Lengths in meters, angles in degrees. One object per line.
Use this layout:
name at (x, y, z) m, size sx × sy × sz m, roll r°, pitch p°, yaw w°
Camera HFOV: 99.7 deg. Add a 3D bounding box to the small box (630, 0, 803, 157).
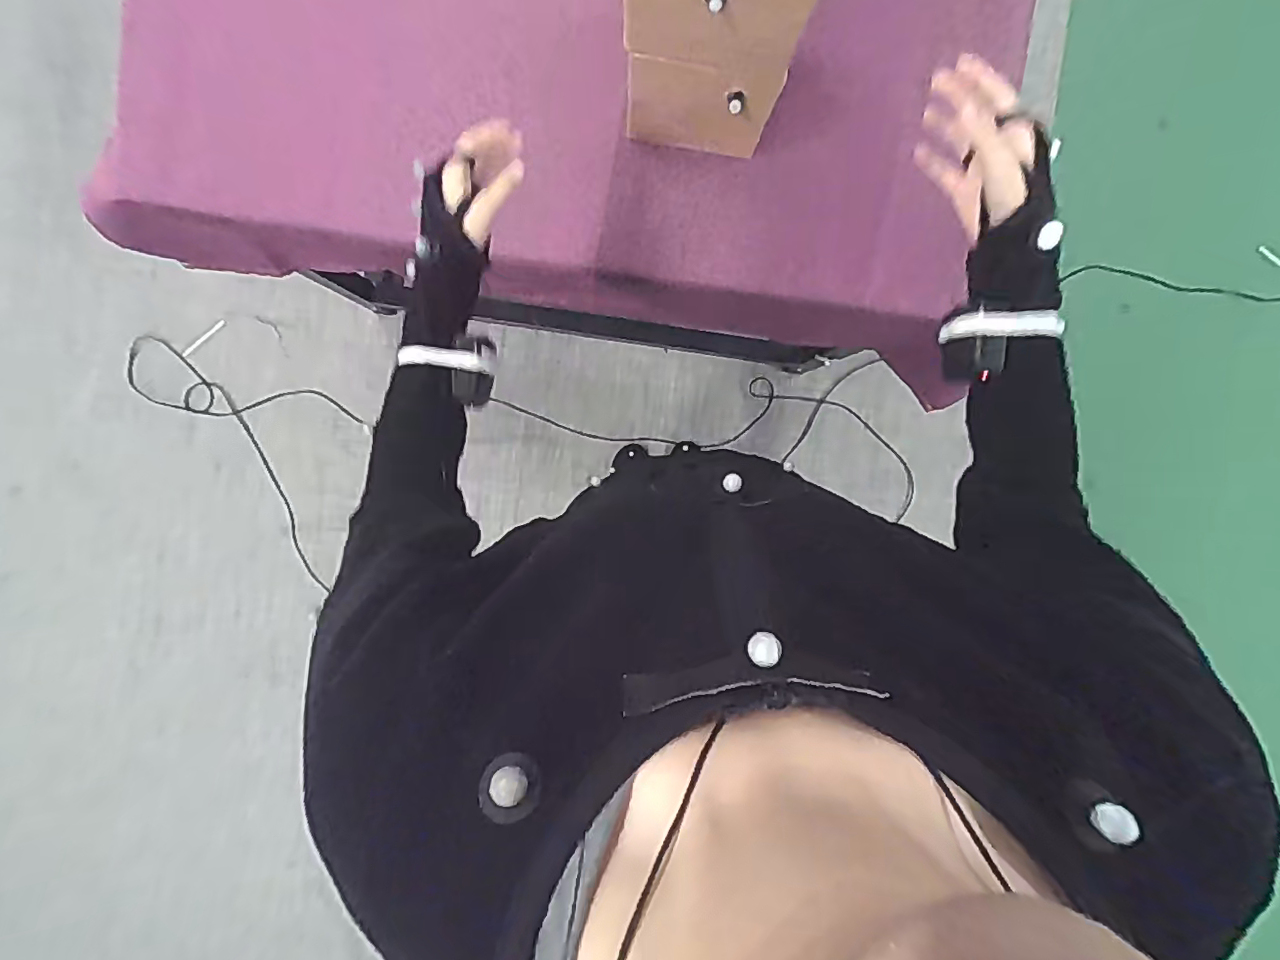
small box at (0.086, -0.528, 0.660) m, size 0.179 × 0.176 × 0.168 m, roll 9°, pitch 93°, yaw -2°
